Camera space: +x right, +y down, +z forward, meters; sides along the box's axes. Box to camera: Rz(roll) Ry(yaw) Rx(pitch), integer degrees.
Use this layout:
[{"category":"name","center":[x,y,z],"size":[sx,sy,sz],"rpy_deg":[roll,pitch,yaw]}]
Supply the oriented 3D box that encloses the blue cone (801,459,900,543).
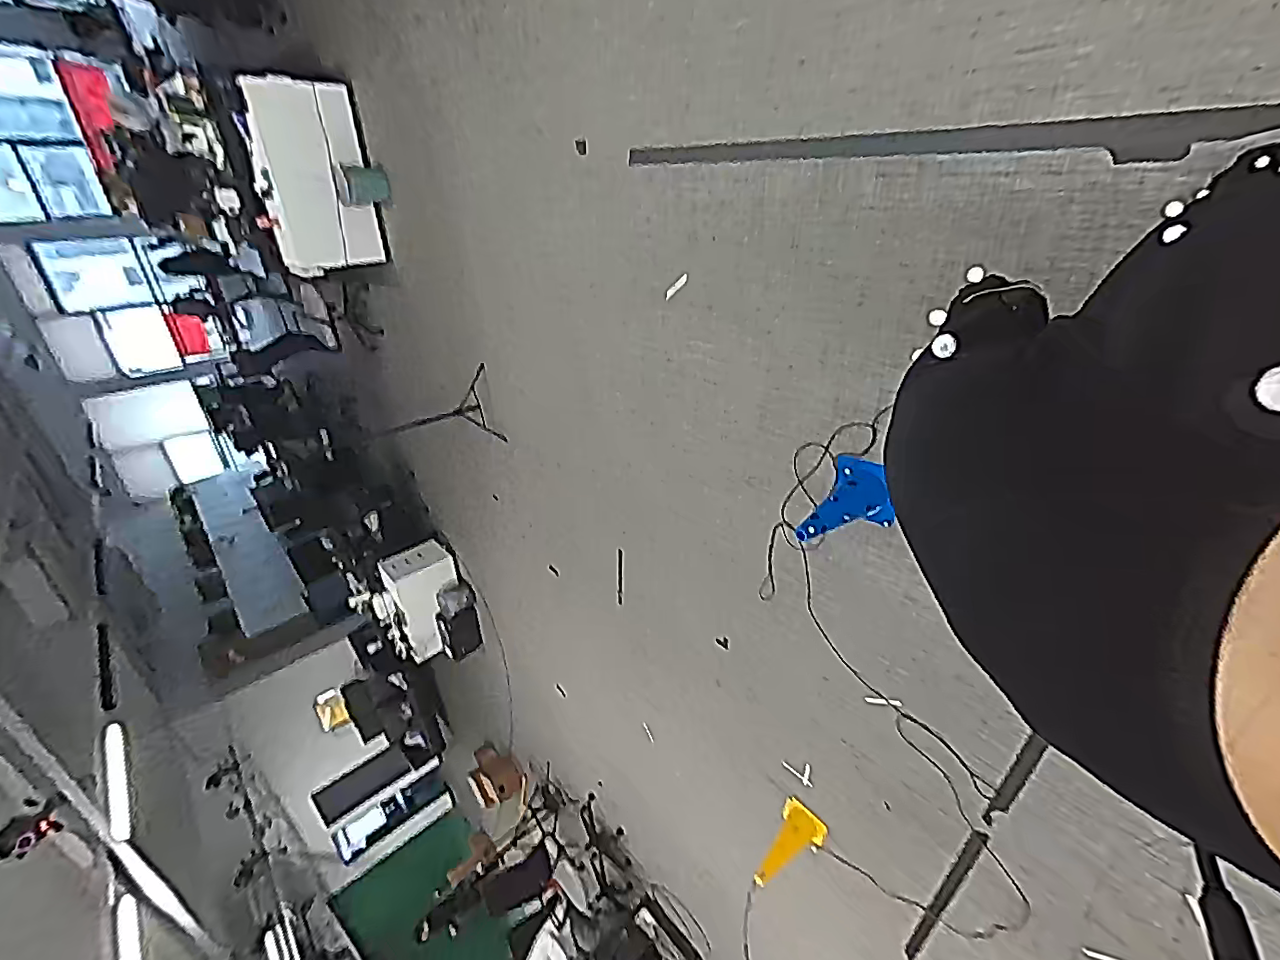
[{"category":"blue cone","center":[0.580,0.090,1.576],"size":[0.192,0.380,0.193],"rpy_deg":[23,127,43]}]
